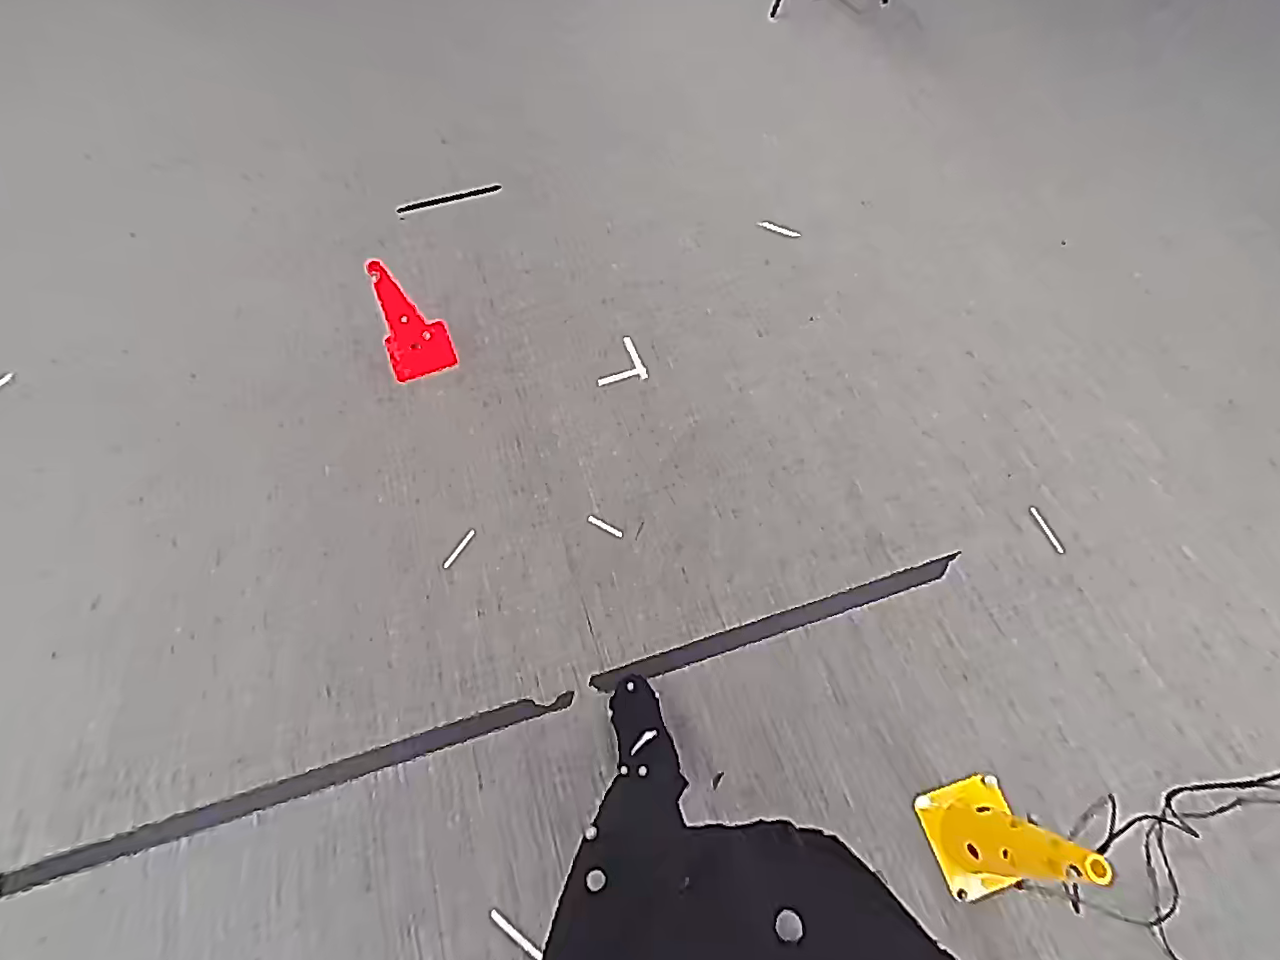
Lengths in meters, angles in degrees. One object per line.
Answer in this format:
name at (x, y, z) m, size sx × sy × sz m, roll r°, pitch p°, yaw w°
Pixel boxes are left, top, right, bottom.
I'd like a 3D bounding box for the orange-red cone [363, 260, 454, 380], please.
orange-red cone at (-0.708, -0.489, 1.575) m, size 0.199 × 0.360 × 0.198 m, roll -21°, pitch 66°, yaw -9°
